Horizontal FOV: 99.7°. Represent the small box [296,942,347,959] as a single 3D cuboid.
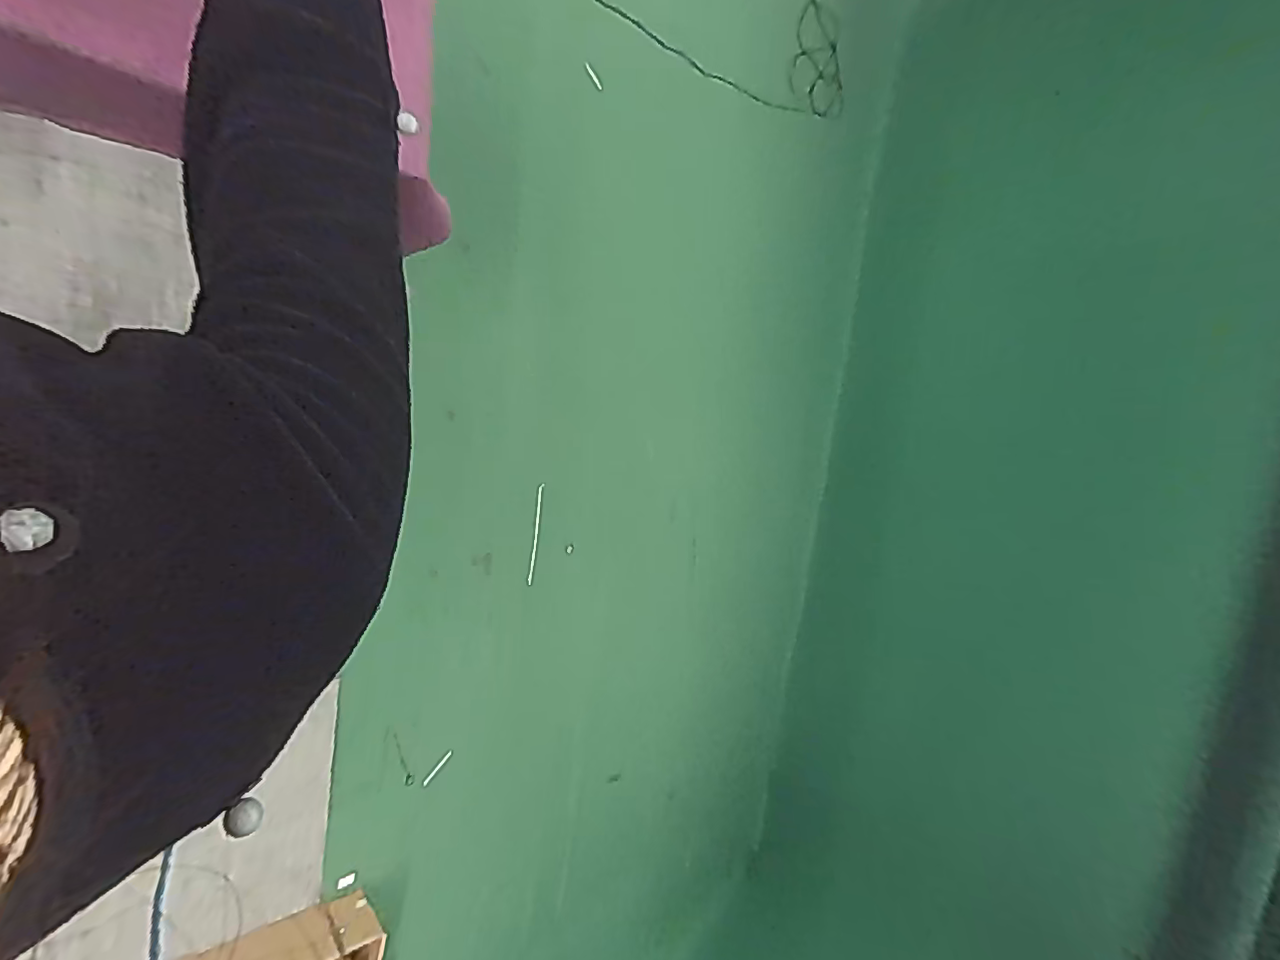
[{"bbox_3d":[-0.919,1.460,1.509,0.179,0.176,0.168,11,90,-49],"label":"small box"}]
